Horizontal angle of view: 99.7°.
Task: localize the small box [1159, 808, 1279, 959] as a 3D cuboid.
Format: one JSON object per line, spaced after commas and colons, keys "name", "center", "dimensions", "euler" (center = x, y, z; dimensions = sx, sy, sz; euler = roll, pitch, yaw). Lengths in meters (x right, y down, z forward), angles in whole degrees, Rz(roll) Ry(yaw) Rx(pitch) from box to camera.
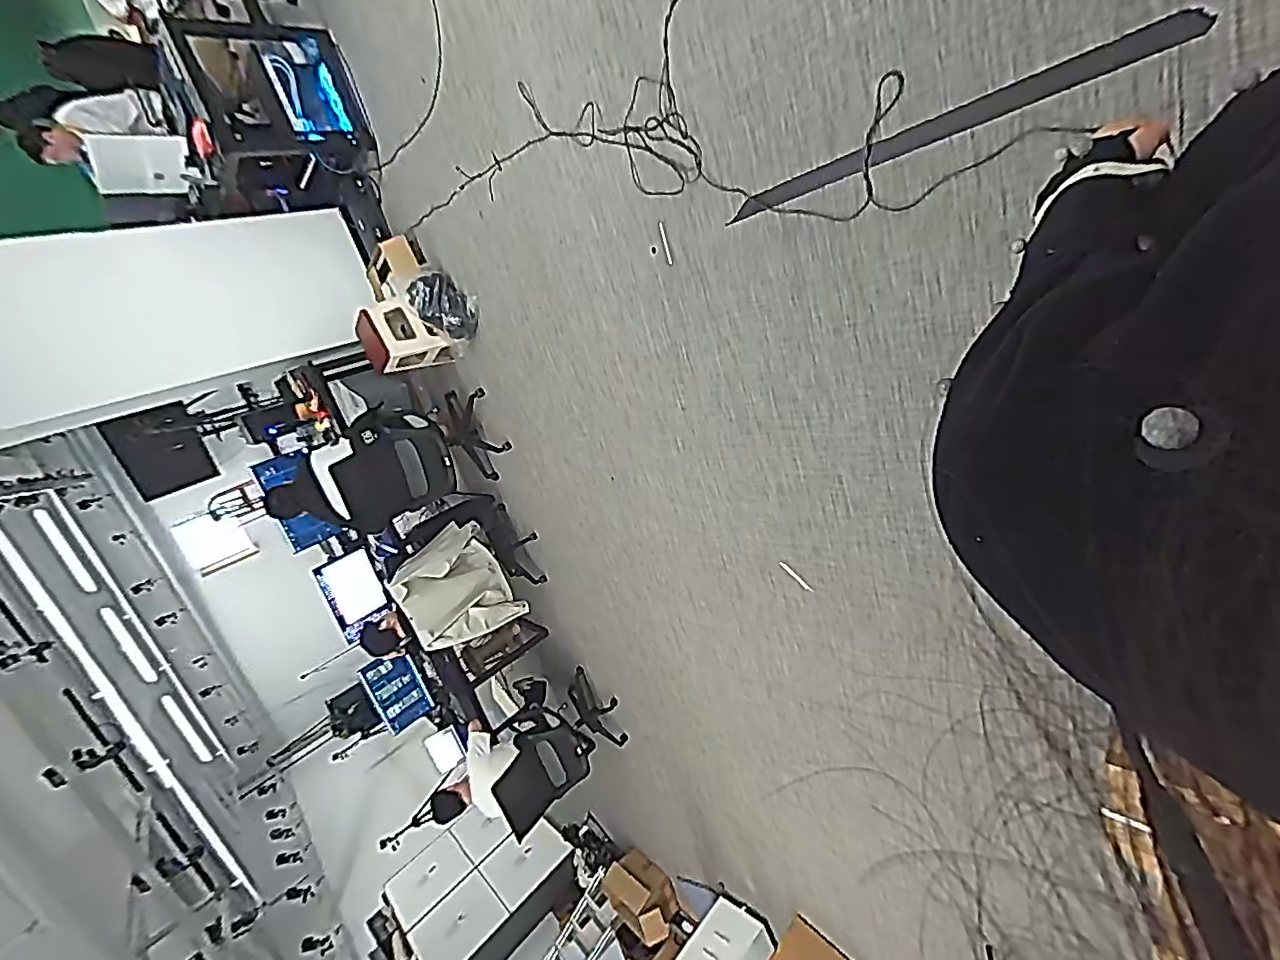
{"name": "small box", "center": [1.170, 0.807, 1.082], "dimensions": [0.179, 0.176, 0.168], "euler": [2, 114, 50]}
